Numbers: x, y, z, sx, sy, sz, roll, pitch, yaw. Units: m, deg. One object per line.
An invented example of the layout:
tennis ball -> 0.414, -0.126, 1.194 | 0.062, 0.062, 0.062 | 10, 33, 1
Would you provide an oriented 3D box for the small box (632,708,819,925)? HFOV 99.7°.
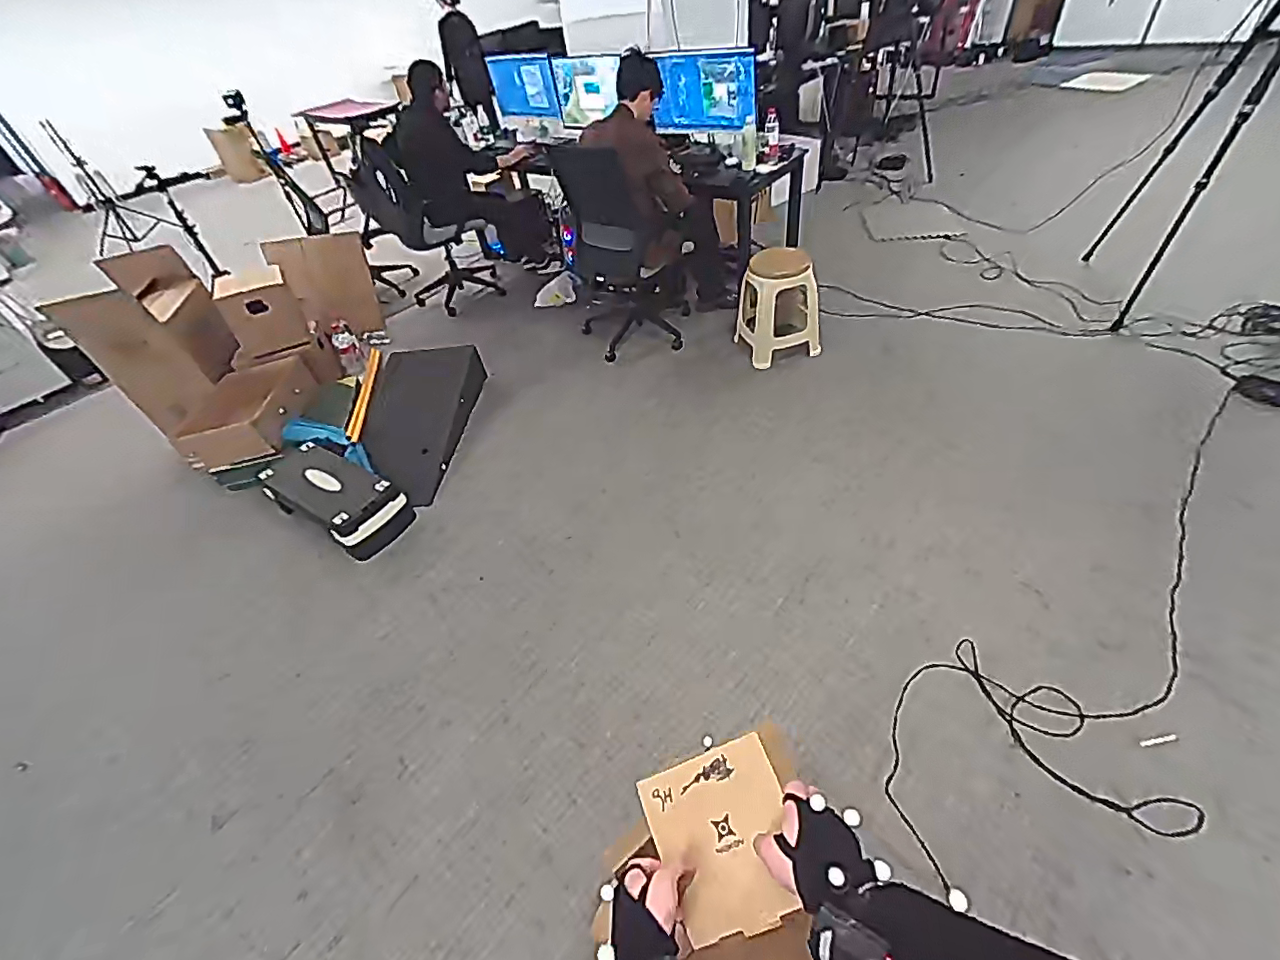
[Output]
small box -> 0.119, 0.421, 0.708 | 0.168, 0.176, 0.179 | -30, 65, 9
